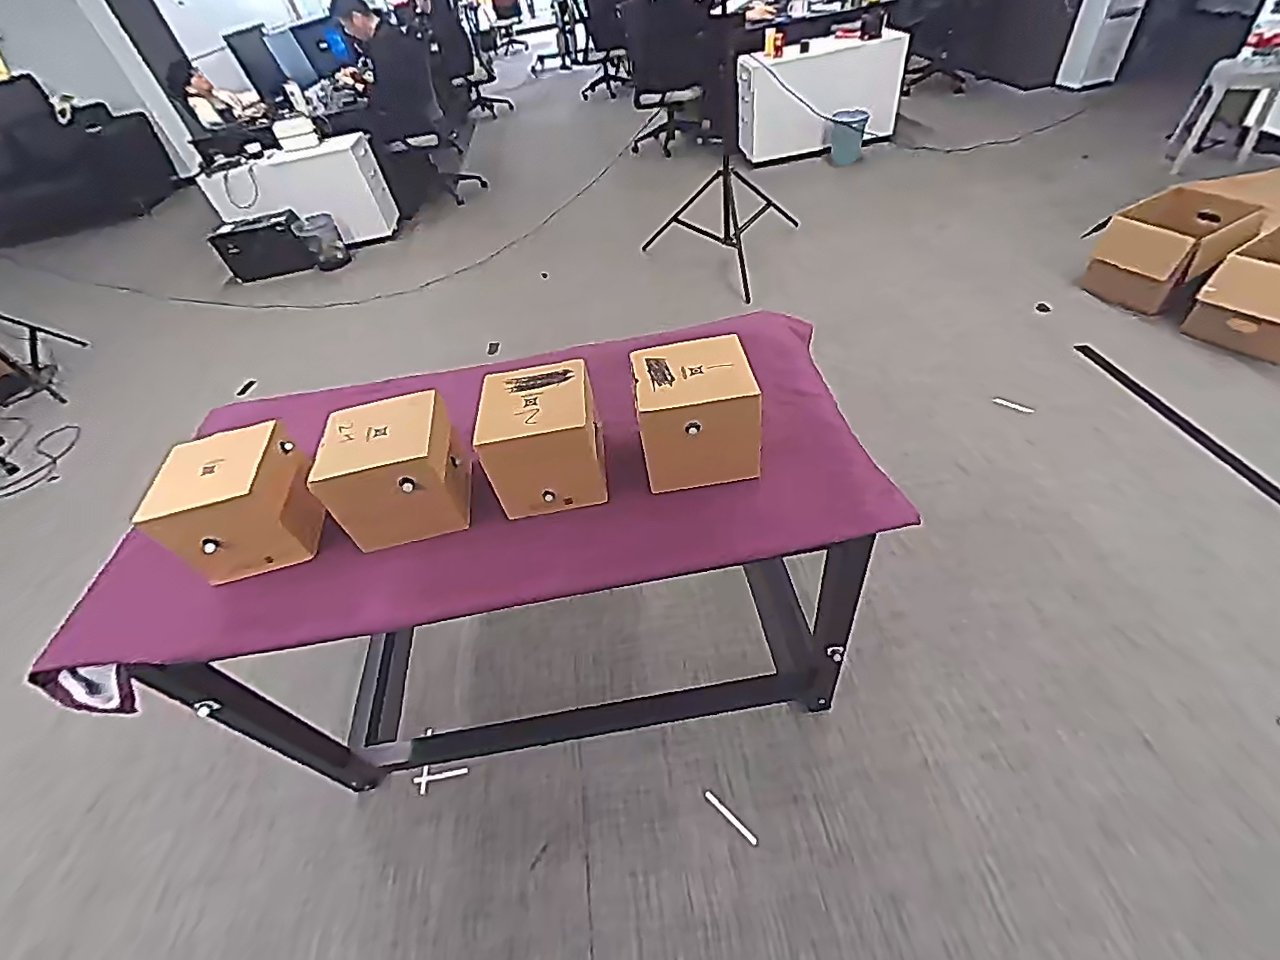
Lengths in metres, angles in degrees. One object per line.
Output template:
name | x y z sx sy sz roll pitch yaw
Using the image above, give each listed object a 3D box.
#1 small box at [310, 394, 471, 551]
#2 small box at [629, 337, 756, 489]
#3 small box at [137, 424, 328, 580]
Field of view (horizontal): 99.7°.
small box | -0.386 -0.010 0.876 0.179 0.176 0.168 -14 45 -2
small box | 0.086 -0.103 0.869 0.179 0.176 0.168 -9 44 2
small box | -0.637 0.043 0.878 0.168 0.176 0.179 -16 45 -4
